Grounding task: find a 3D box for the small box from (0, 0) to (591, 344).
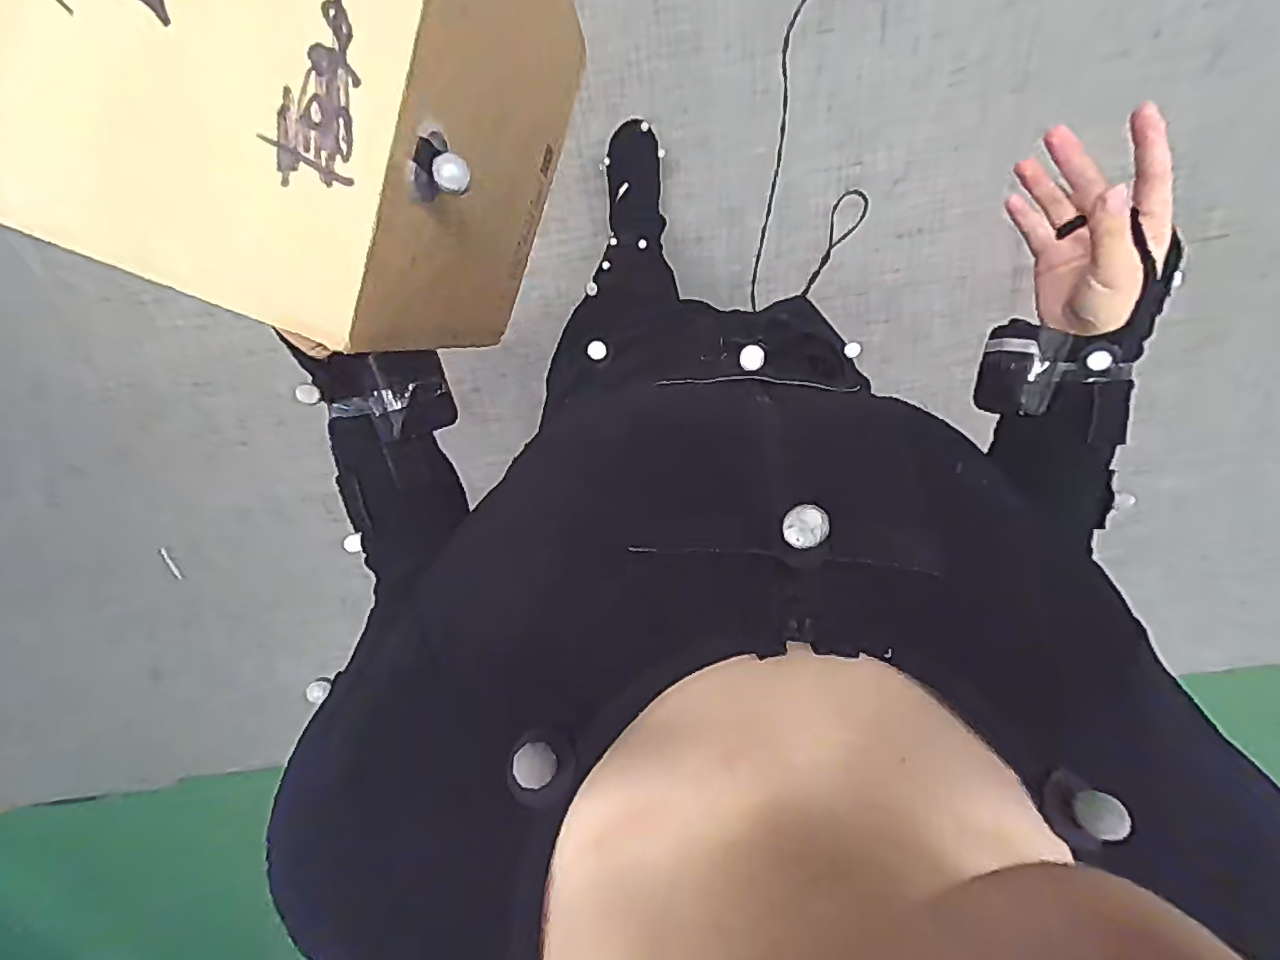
[{"bbox_3d":[-0.136,-0.166,0.238,0.179,0.176,0.168,20,105,-2],"label":"small box"}]
